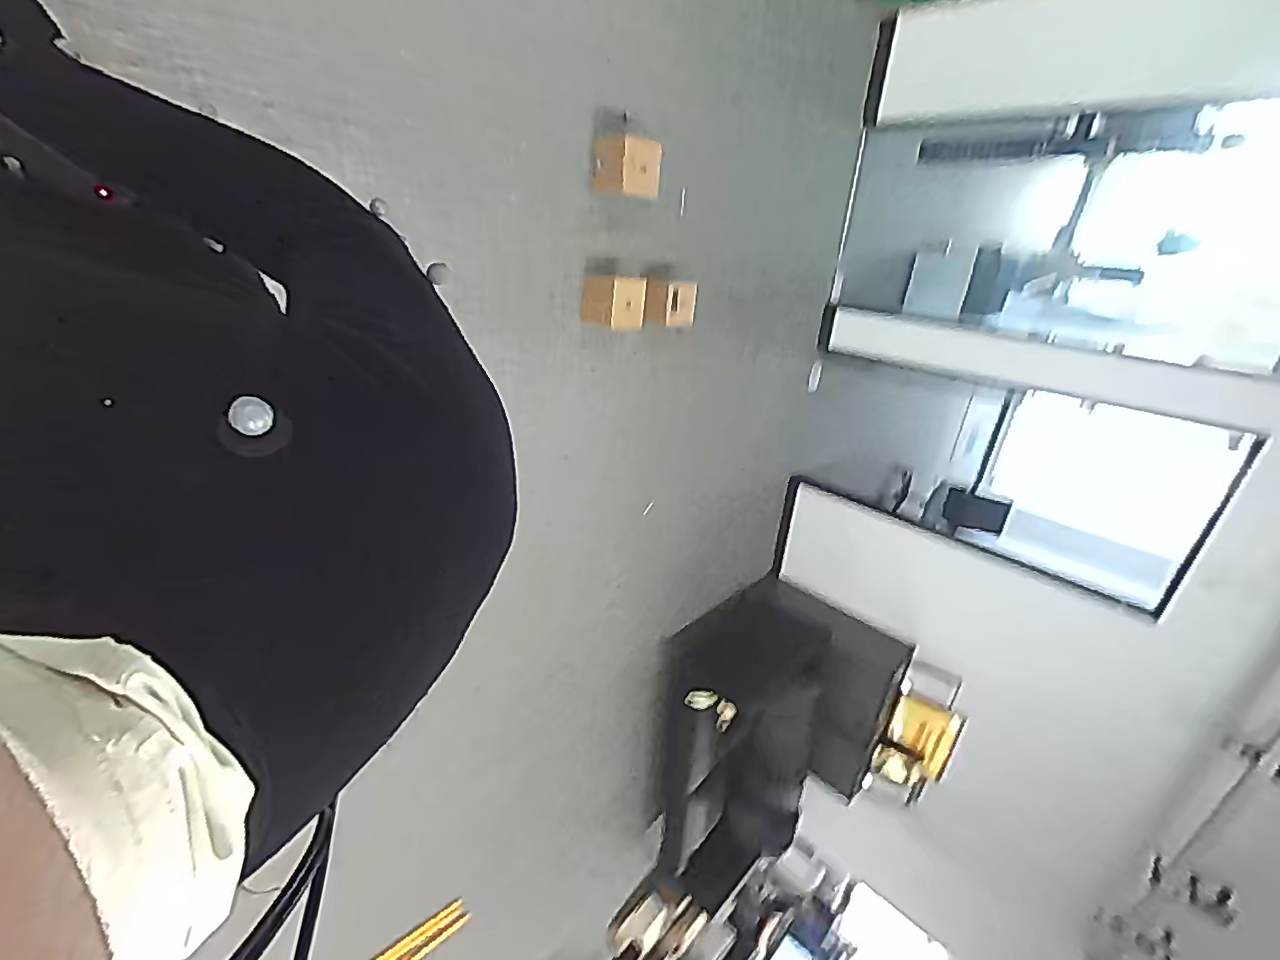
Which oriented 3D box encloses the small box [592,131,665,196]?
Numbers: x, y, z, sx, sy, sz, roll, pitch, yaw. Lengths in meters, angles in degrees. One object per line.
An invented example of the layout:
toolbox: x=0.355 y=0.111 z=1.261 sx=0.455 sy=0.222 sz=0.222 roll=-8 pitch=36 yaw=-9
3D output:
small box: x=-0.040 y=-1.068 z=1.831 sx=0.179 sy=0.176 sz=0.168 roll=-18 pitch=123 yaw=-43

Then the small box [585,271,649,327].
small box: x=-0.090 y=-0.672 z=2.004 sx=0.168 sy=0.176 sz=0.179 roll=-18 pitch=124 yaw=-43
